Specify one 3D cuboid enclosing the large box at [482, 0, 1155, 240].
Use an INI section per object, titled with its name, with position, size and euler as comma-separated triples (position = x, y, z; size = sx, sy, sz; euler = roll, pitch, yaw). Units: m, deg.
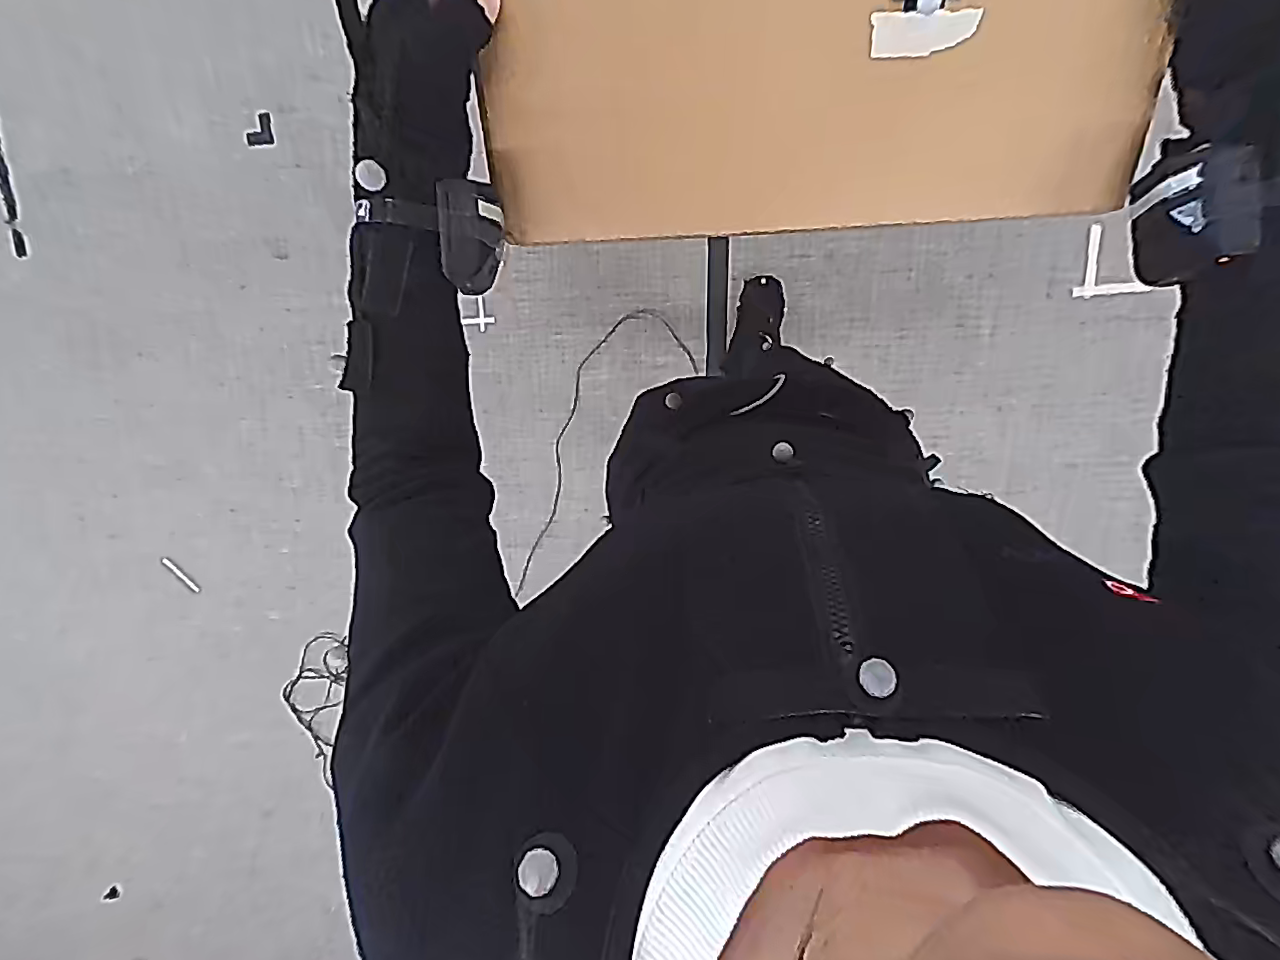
[large box]
position = 0.108, -0.384, 0.444
size = 0.408, 0.320, 0.320
euler = -1, 116, 7
